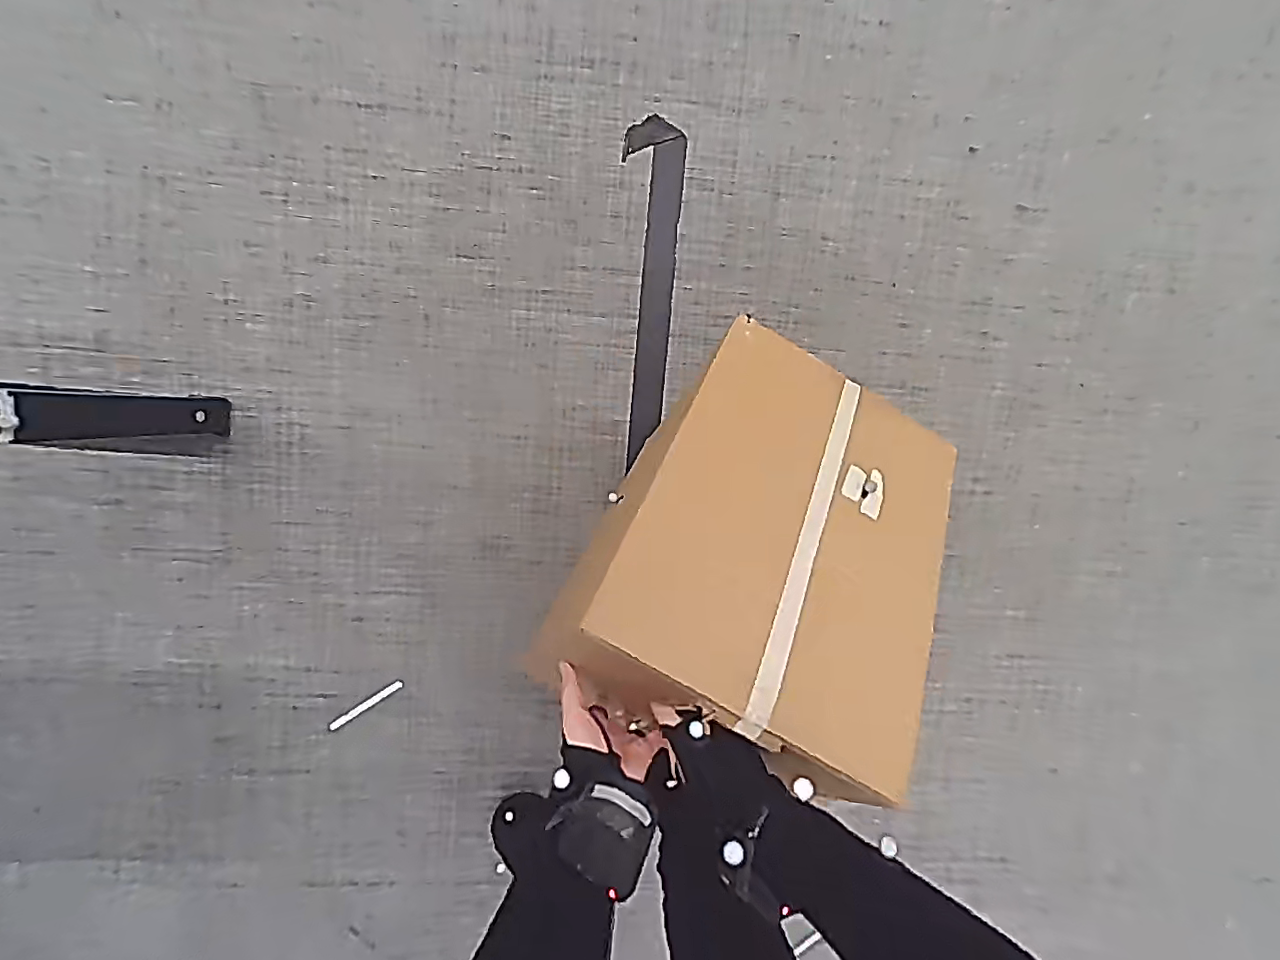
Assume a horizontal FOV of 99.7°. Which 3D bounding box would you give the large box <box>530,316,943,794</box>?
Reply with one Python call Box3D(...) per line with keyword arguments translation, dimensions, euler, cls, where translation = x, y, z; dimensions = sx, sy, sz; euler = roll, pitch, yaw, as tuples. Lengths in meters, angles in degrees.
Box3D(translation=(0.109, 0.098, 0.655), dimensions=(0.320, 0.320, 0.408), euler=(30, 58, -5), cls="large box")
